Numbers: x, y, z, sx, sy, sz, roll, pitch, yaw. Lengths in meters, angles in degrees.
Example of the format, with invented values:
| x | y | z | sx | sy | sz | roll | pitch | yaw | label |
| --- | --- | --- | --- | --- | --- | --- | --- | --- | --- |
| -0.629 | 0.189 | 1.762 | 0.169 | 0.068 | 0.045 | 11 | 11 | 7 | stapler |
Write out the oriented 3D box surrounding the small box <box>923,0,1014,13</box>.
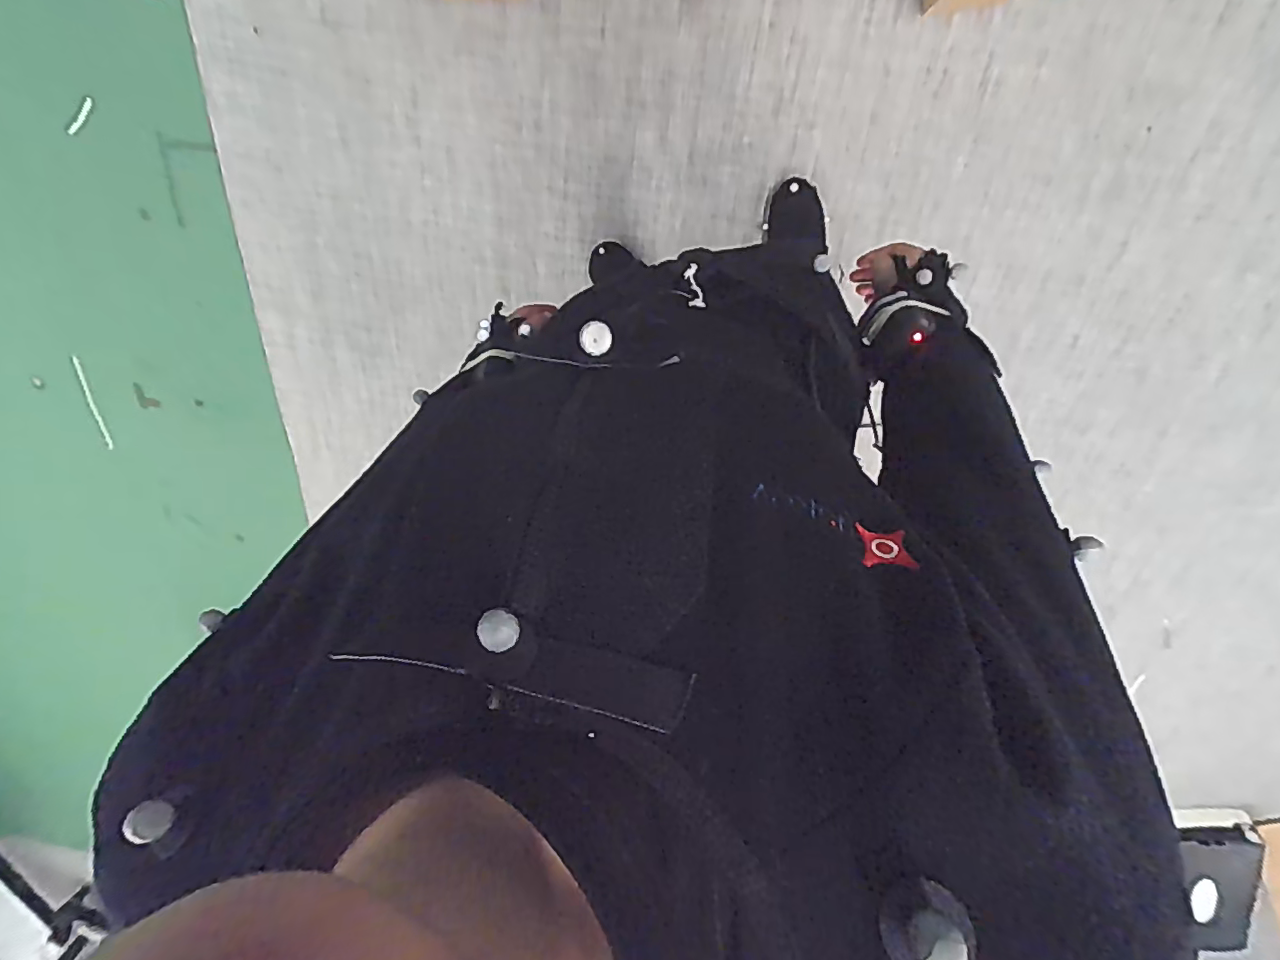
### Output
| x | y | z | sx | sy | sz | roll | pitch | yaw | label |
| --- | --- | --- | --- | --- | --- | --- | --- | --- | --- |
| 0.542 | -0.840 | 0.813 | 0.168 | 0.176 | 0.179 | -2 | 117 | 10 | small box |
